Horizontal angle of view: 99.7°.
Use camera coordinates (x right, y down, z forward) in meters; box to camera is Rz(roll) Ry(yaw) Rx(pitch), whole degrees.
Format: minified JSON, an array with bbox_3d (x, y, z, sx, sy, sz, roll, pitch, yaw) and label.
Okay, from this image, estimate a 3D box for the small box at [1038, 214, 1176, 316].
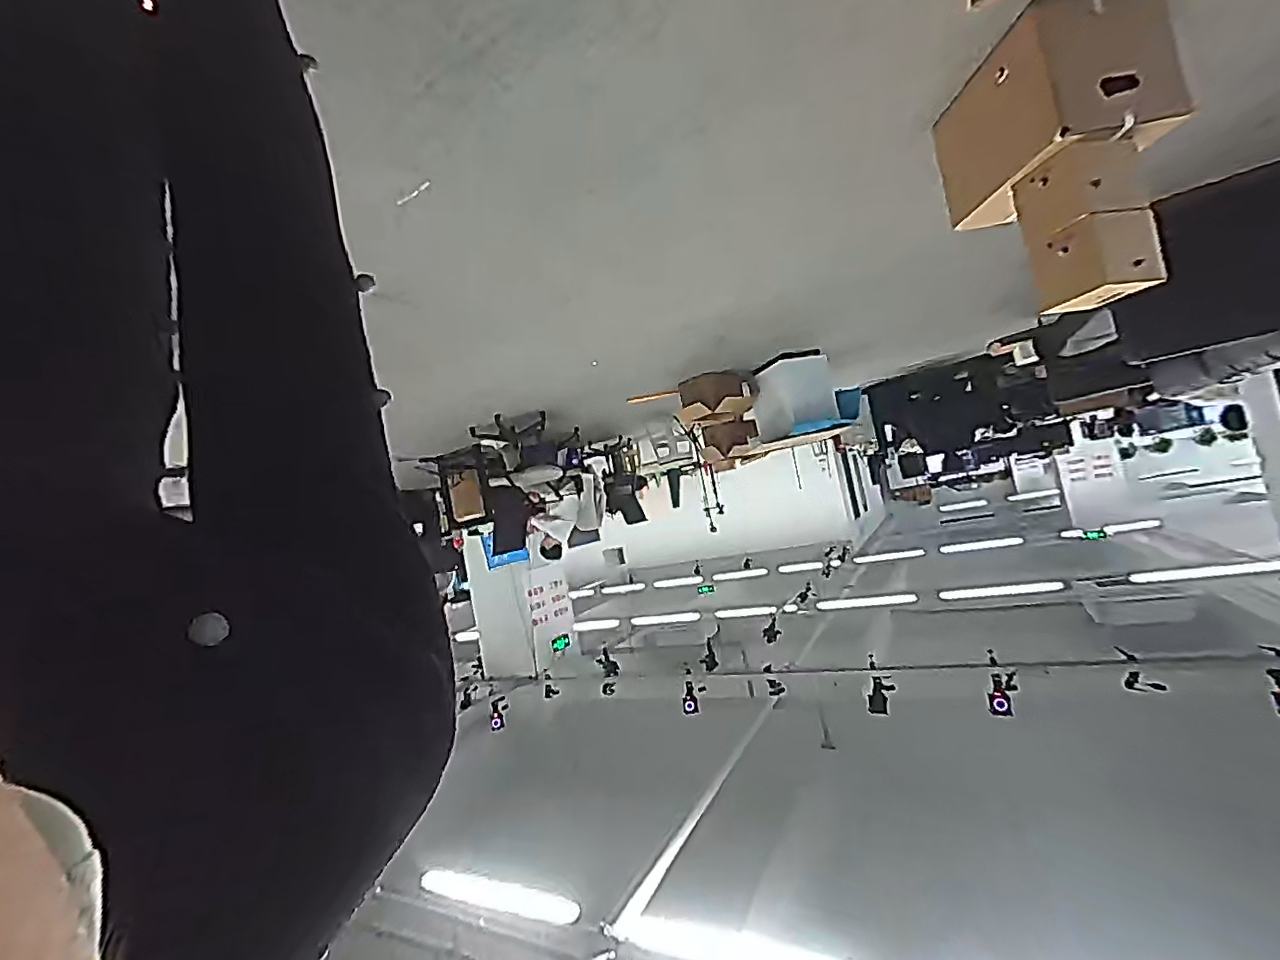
[{"bbox_3d":[1.079,-0.499,1.259,0.179,0.176,0.168,-8,177,-12],"label":"small box"}]
